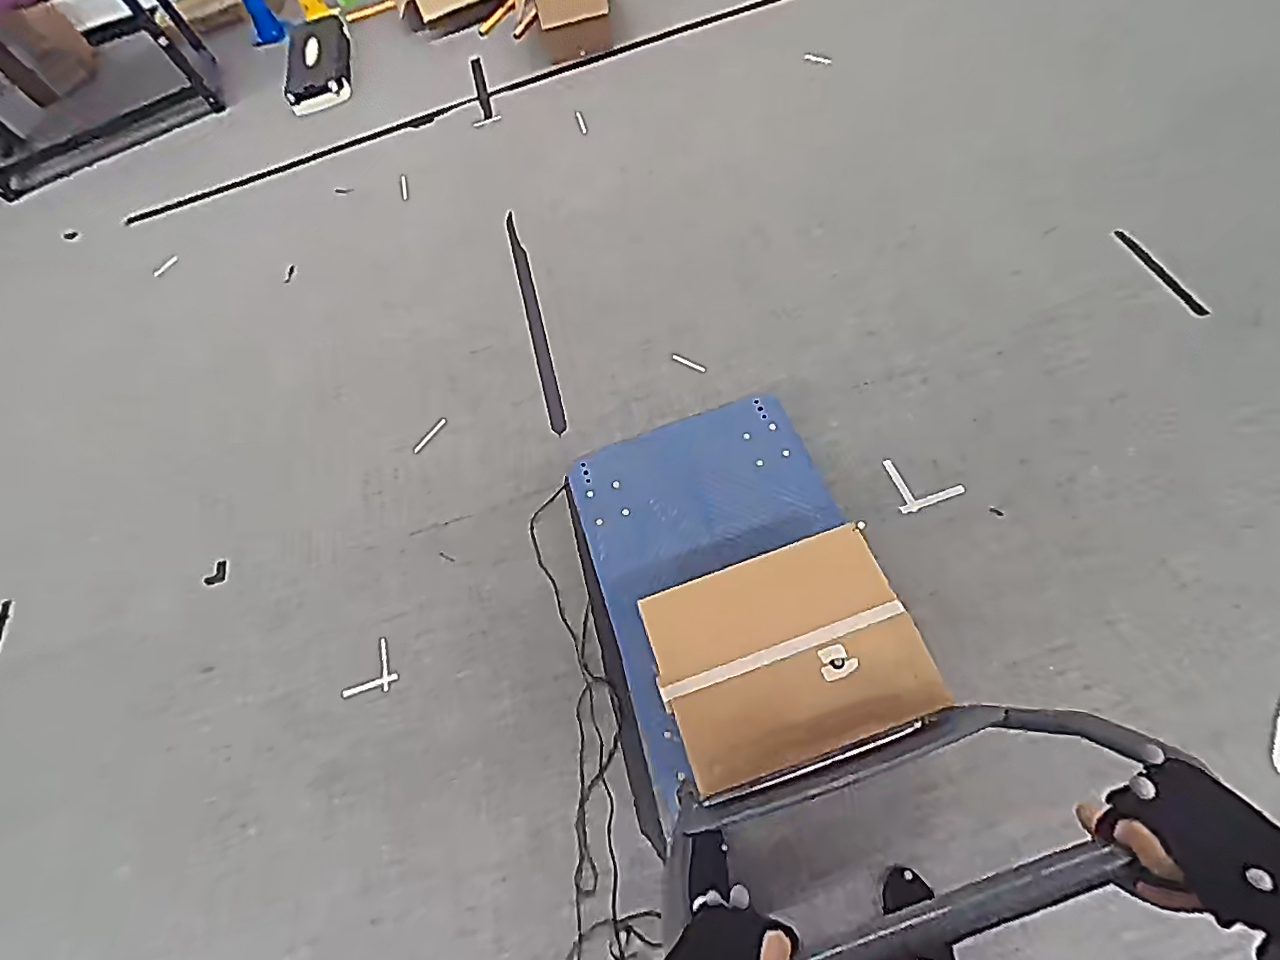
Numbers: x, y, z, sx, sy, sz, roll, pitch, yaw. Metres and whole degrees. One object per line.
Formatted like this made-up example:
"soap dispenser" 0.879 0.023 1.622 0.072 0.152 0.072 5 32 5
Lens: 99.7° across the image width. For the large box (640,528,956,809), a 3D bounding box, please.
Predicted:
"large box" 0.250 0.342 0.981 0.408 0.320 0.320 -20 65 -2
